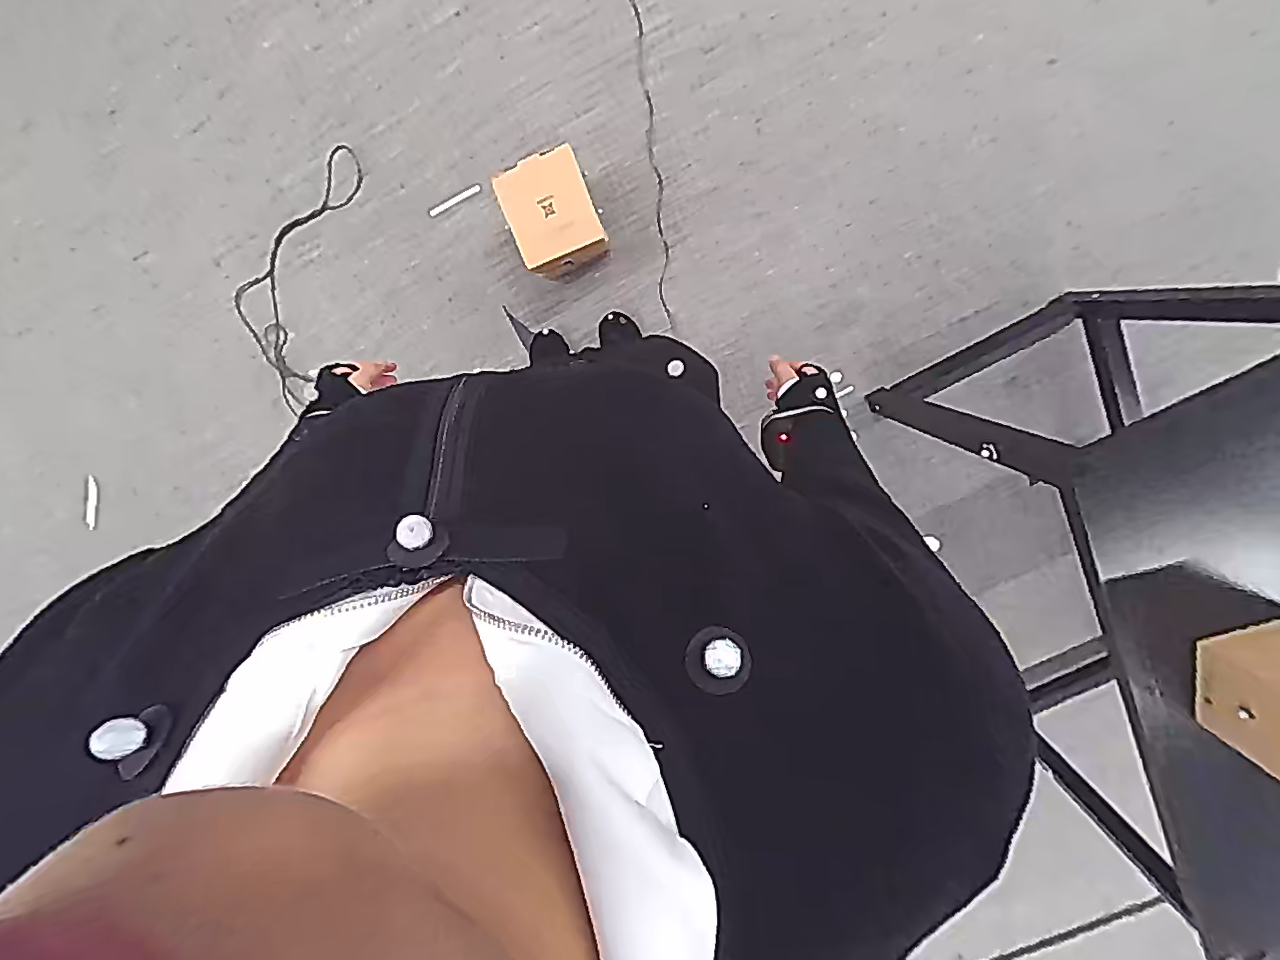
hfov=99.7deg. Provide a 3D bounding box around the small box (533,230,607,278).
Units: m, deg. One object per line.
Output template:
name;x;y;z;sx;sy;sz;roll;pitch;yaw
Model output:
small box;-0.187;-0.587;1.259;0.179;0.176;0.168;-26;107;7

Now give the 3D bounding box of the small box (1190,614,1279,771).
small box;1.001;0.328;0.823;0.179;0.176;0.168;-17;107;2

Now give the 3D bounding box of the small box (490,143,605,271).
small box;-0.179;-0.542;1.101;0.168;0.176;0.179;-21;108;6
